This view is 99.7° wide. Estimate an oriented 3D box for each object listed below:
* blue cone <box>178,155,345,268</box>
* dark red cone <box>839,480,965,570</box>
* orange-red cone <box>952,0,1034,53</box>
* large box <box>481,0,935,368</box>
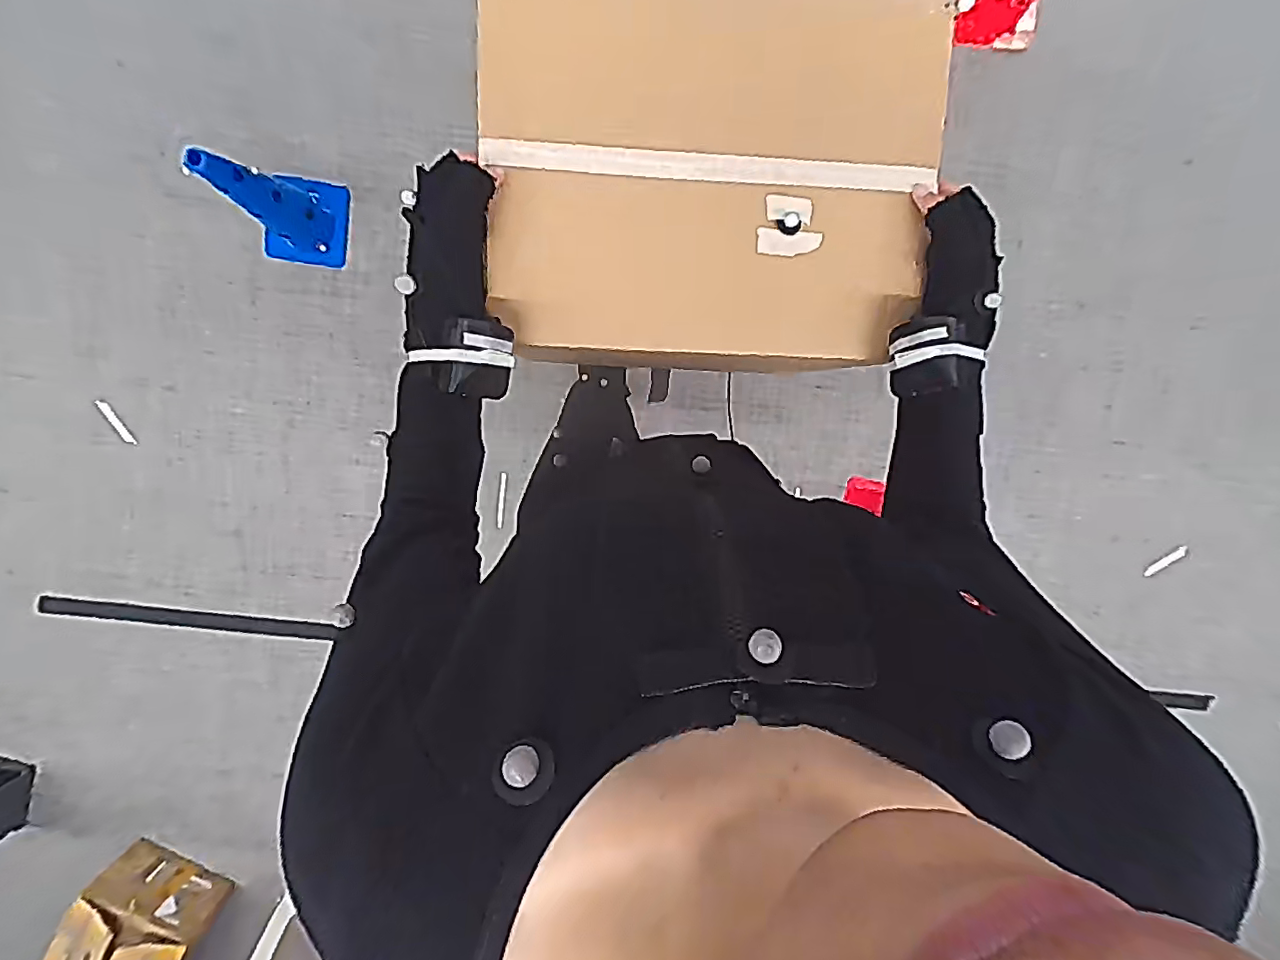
[{"bbox_3d":[-0.838,-0.614,1.194,0.192,0.380,0.193,10,98,-2],"label":"blue cone"},{"bbox_3d":[0.652,0.135,1.301,0.201,0.394,0.202,12,97,-2],"label":"dark red cone"},{"bbox_3d":[0.873,-1.138,1.149,0.198,0.360,0.199,4,97,-3],"label":"orange-red cone"},{"bbox_3d":[0.048,-0.299,0.629,0.408,0.320,0.320,1,99,-5],"label":"large box"}]
